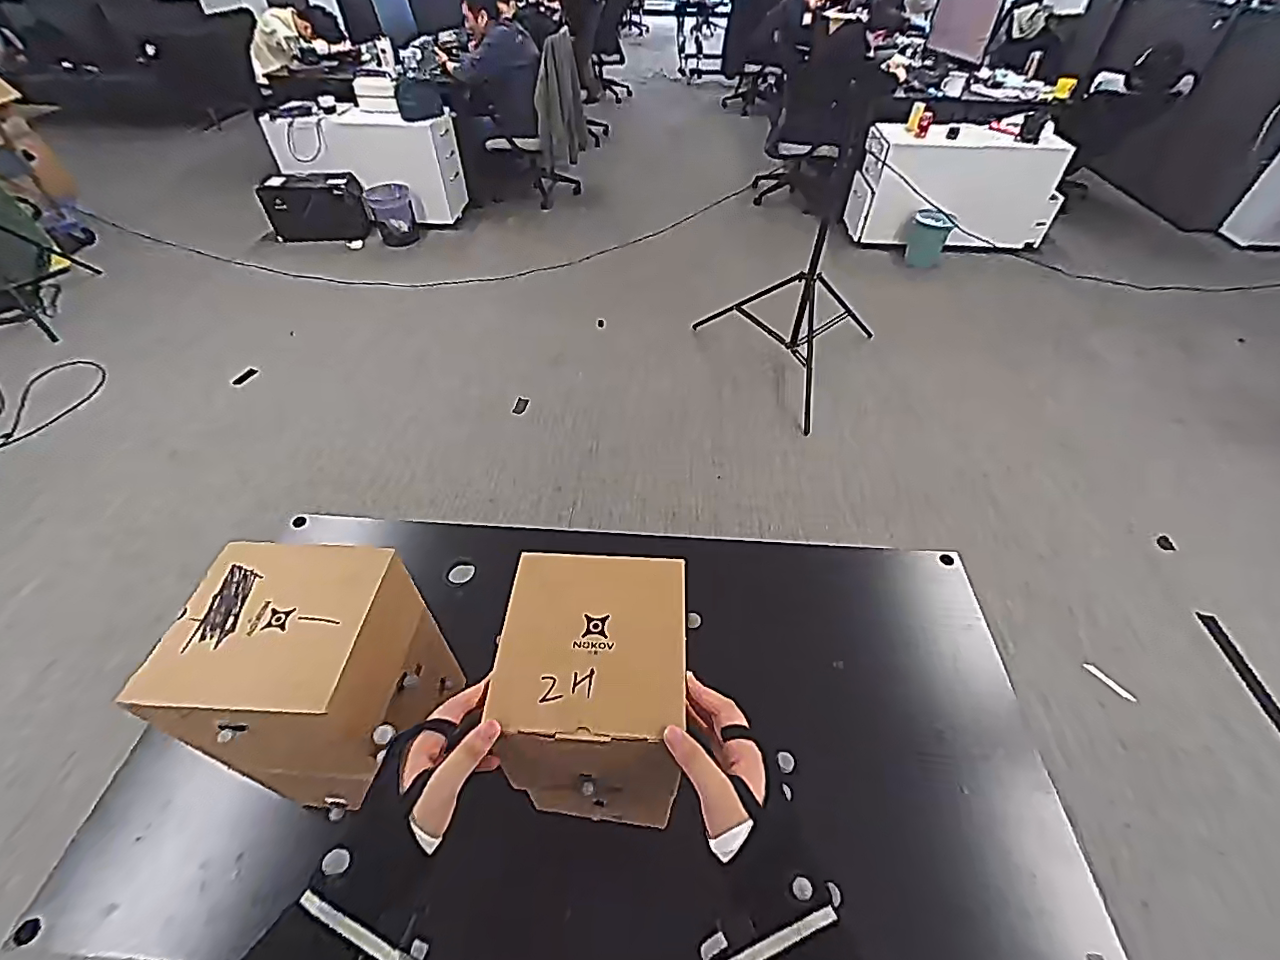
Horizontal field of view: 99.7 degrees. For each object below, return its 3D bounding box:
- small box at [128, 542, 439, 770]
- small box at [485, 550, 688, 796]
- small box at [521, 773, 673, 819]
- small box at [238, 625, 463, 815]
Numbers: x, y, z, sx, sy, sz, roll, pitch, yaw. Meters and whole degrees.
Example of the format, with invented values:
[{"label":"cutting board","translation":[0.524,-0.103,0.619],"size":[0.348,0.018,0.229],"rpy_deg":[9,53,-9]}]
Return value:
[{"label":"small box","translation":[-0.332,0.181,0.551],"size":[0.179,0.176,0.168],"rpy_deg":[2,47,1]},{"label":"small box","translation":[-0.040,0.192,0.543],"size":[0.168,0.176,0.179],"rpy_deg":[2,46,2]},{"label":"small box","translation":[-0.035,0.299,0.670],"size":[0.168,0.176,0.179],"rpy_deg":[6,47,5]},{"label":"small box","translation":[-0.333,0.293,0.672],"size":[0.168,0.176,0.179],"rpy_deg":[2,47,2]}]
